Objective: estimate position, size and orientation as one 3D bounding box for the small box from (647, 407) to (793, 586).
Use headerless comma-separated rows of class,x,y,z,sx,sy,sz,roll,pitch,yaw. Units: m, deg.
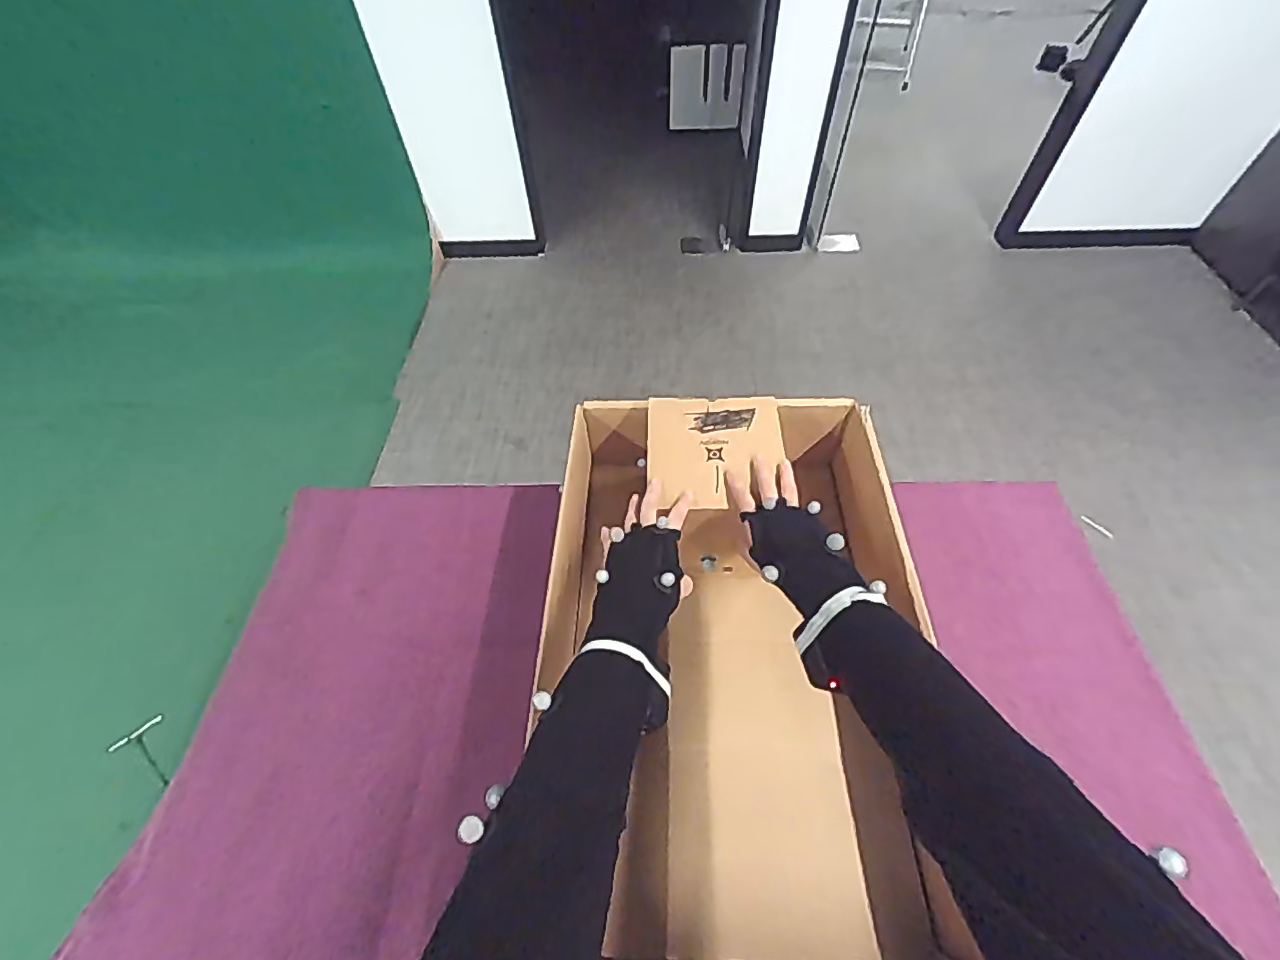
small box,0.095,0.023,0.715,0.168,0.176,0.179,-1,54,3
